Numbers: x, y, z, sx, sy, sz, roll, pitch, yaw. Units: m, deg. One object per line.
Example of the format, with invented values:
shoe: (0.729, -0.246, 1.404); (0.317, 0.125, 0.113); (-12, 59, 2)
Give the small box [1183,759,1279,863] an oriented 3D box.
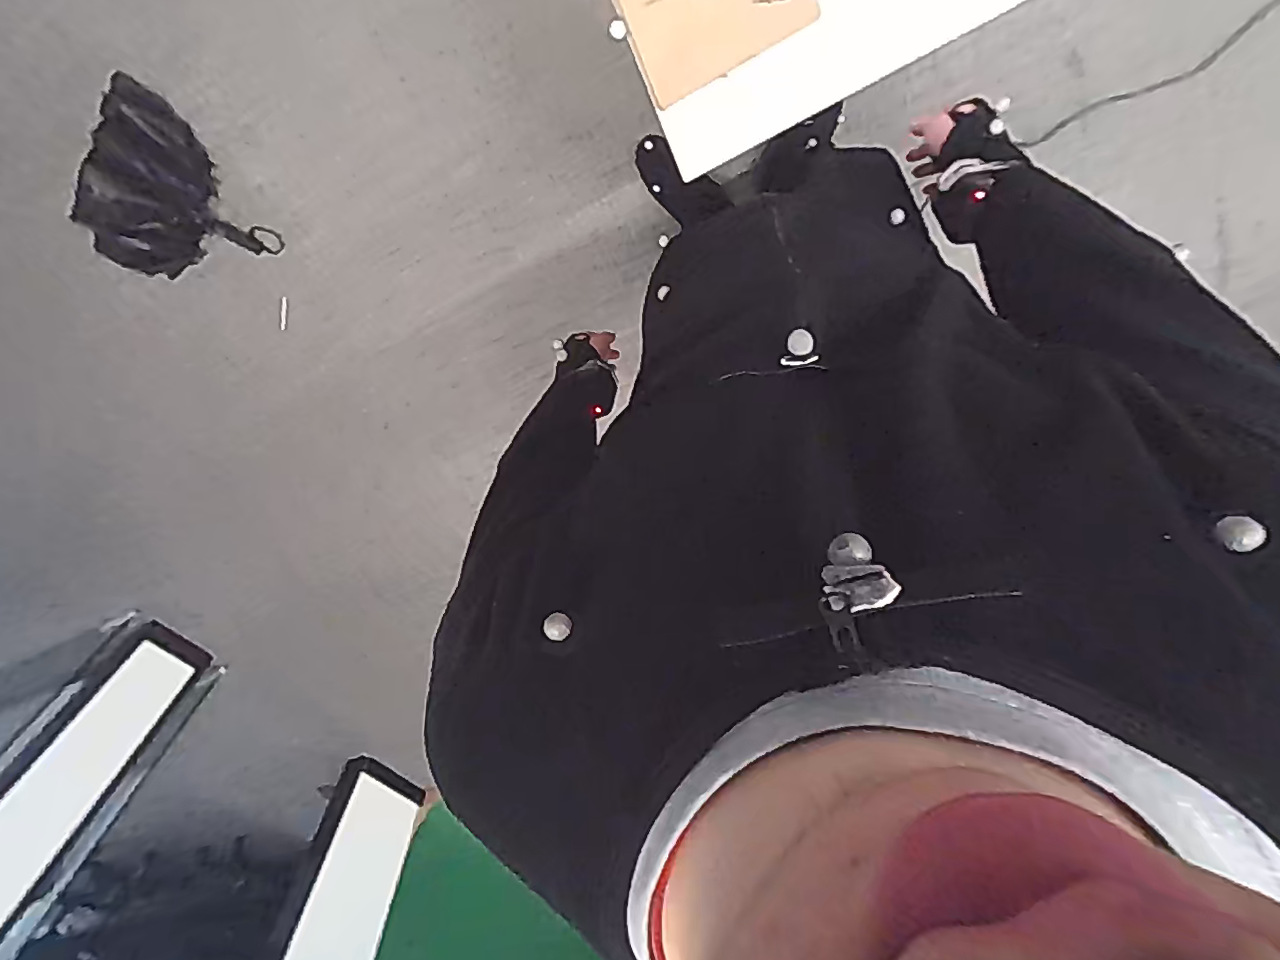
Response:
small box: (1.536, 0.828, 1.360); (0.179, 0.176, 0.168); (-22, 121, 18)
